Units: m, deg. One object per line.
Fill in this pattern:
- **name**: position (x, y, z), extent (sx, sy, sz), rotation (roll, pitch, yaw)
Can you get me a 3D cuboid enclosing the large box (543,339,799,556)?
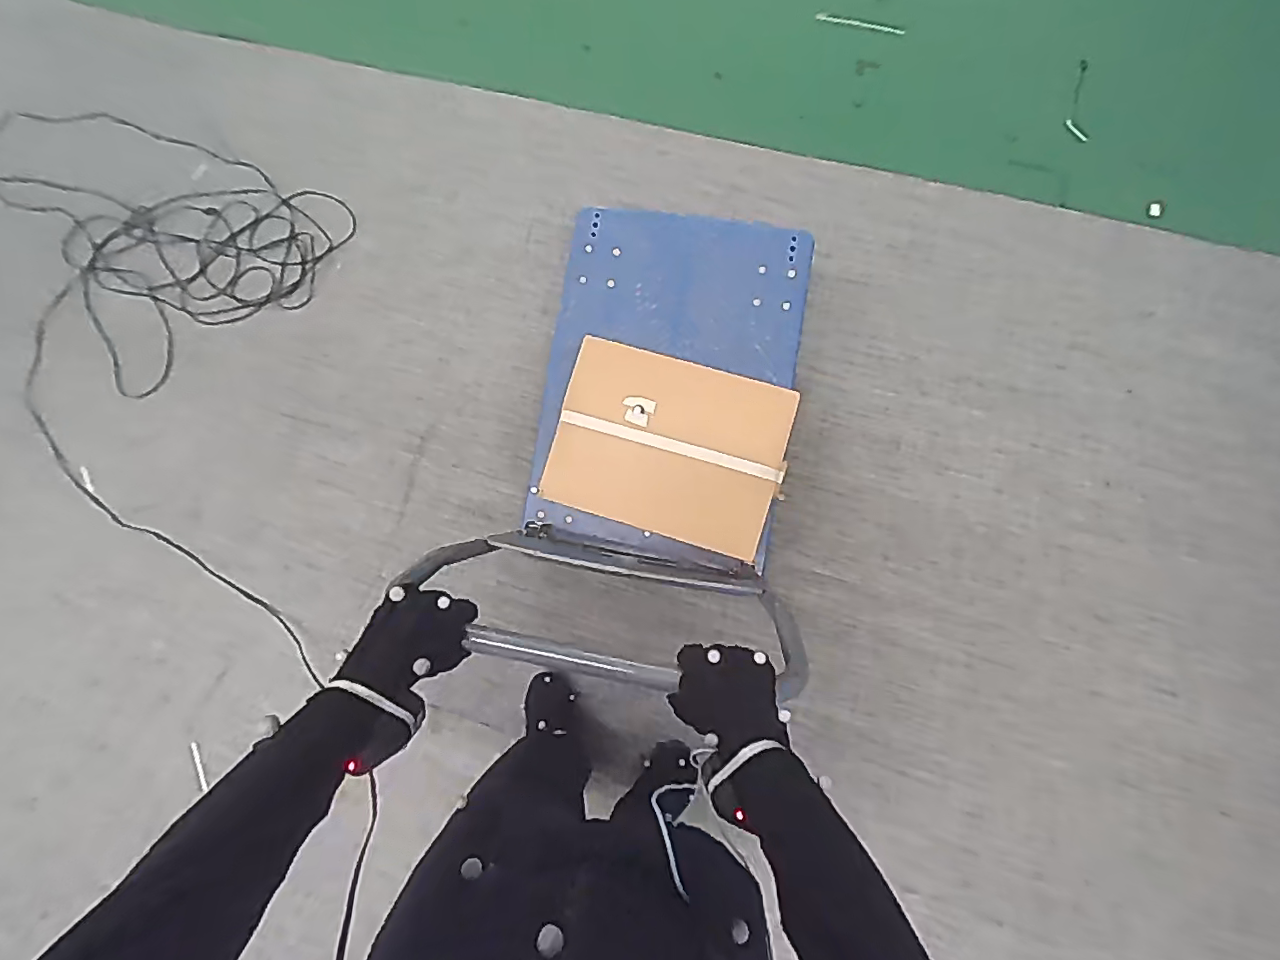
- **large box**: position (0.069, -0.055, 1.109), extent (0.408, 0.320, 0.320), rotation (16, 88, 7)
